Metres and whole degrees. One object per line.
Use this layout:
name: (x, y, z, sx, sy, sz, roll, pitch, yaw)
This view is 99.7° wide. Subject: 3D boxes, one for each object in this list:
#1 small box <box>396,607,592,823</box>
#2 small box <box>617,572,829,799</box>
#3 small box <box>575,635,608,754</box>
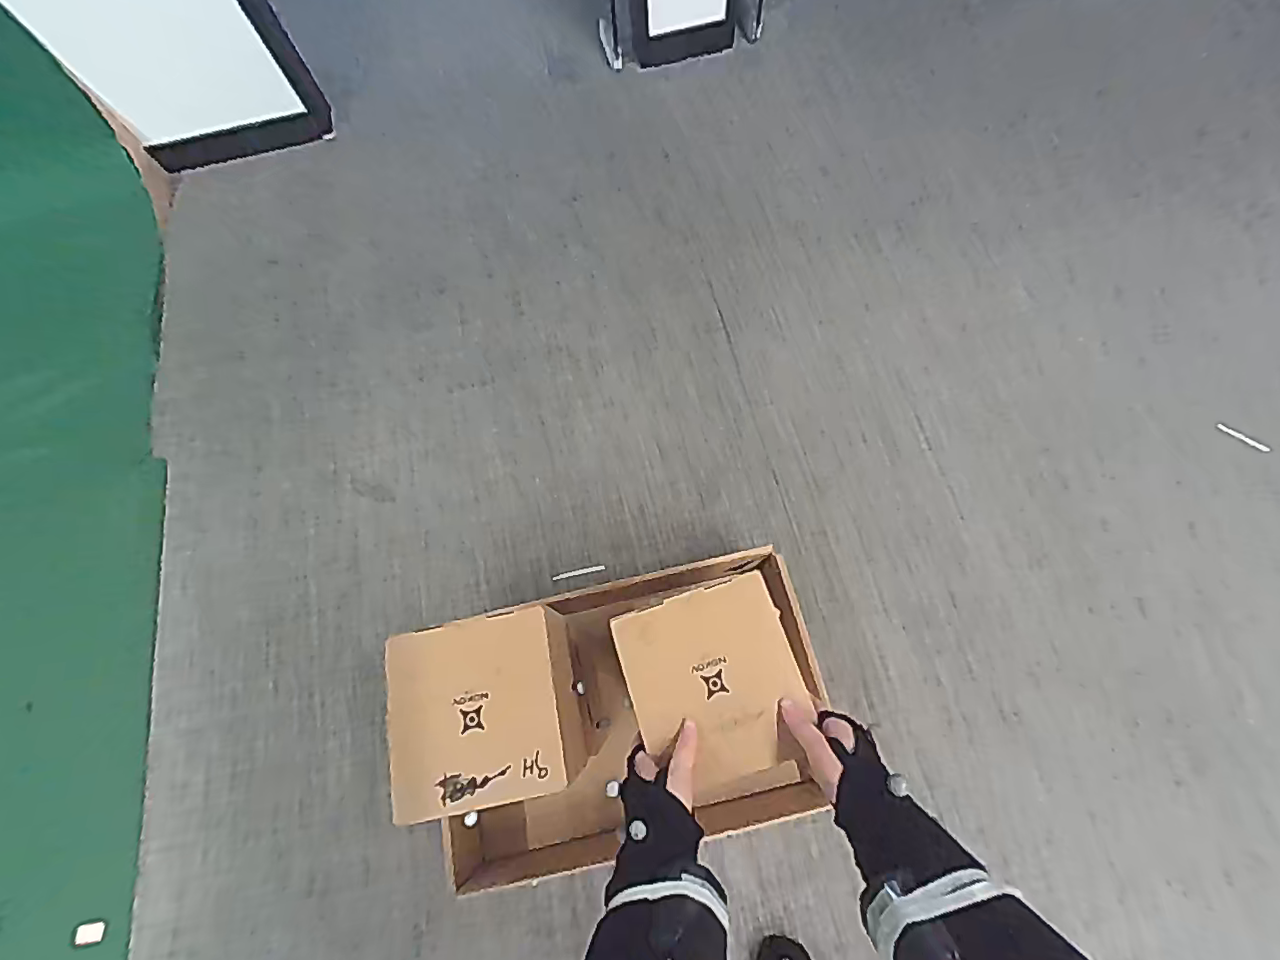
small box: (-0.154, 0.253, 0.605, 0.168, 0.176, 0.179, -11, 70, -1)
small box: (0.082, 0.221, 0.602, 0.168, 0.176, 0.179, -18, 71, 0)
small box: (-0.150, 0.367, 0.915, 0.168, 0.176, 0.179, -9, 70, -1)
